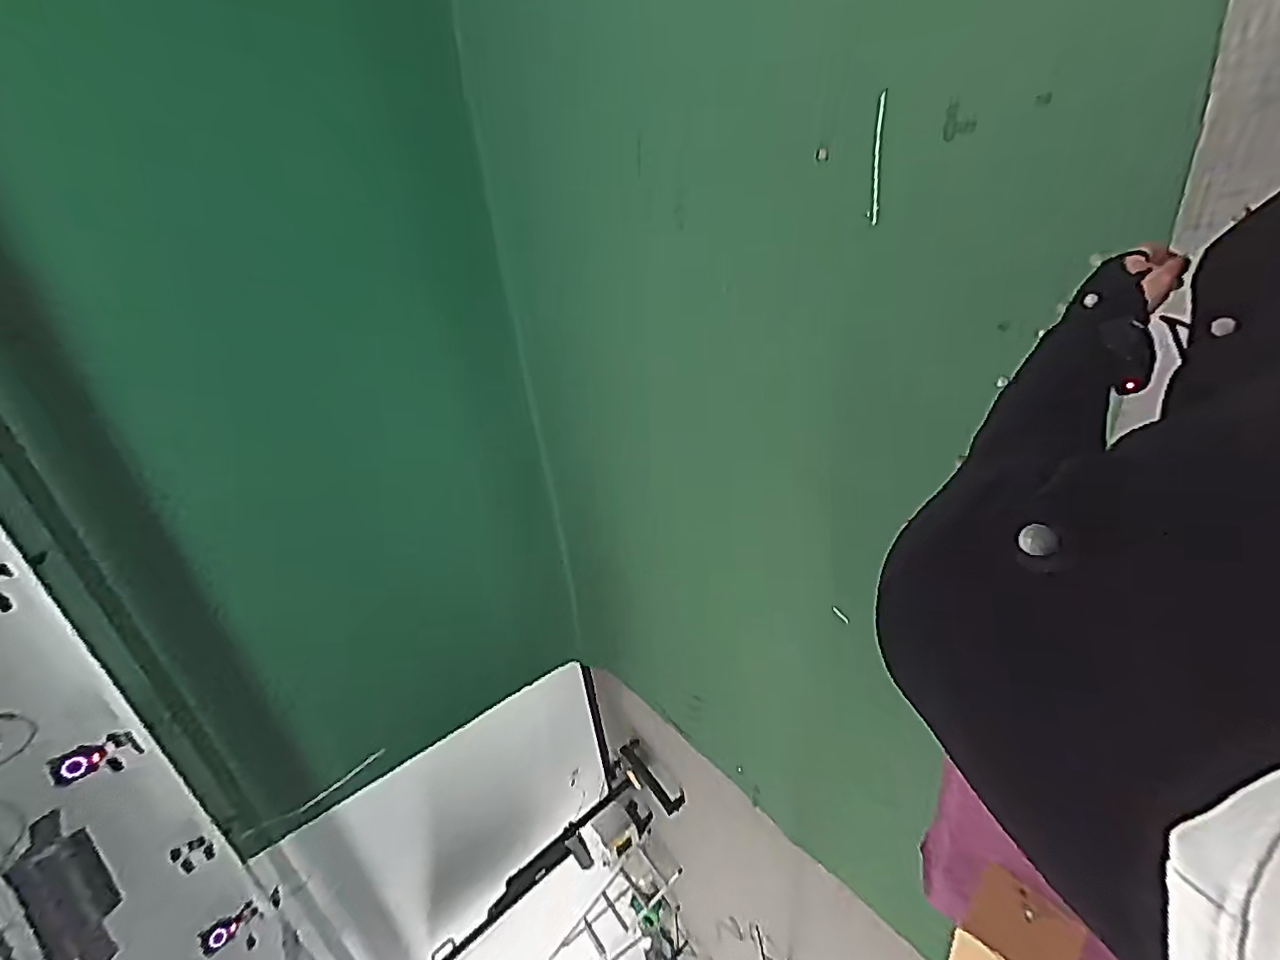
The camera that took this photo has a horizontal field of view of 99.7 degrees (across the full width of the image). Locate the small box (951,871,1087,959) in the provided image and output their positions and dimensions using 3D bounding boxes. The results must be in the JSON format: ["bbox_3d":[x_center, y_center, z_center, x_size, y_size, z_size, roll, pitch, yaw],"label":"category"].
[{"bbox_3d":[0.732,0.928,1.052,0.168,0.176,0.179,22,127,46],"label":"small box"}]
